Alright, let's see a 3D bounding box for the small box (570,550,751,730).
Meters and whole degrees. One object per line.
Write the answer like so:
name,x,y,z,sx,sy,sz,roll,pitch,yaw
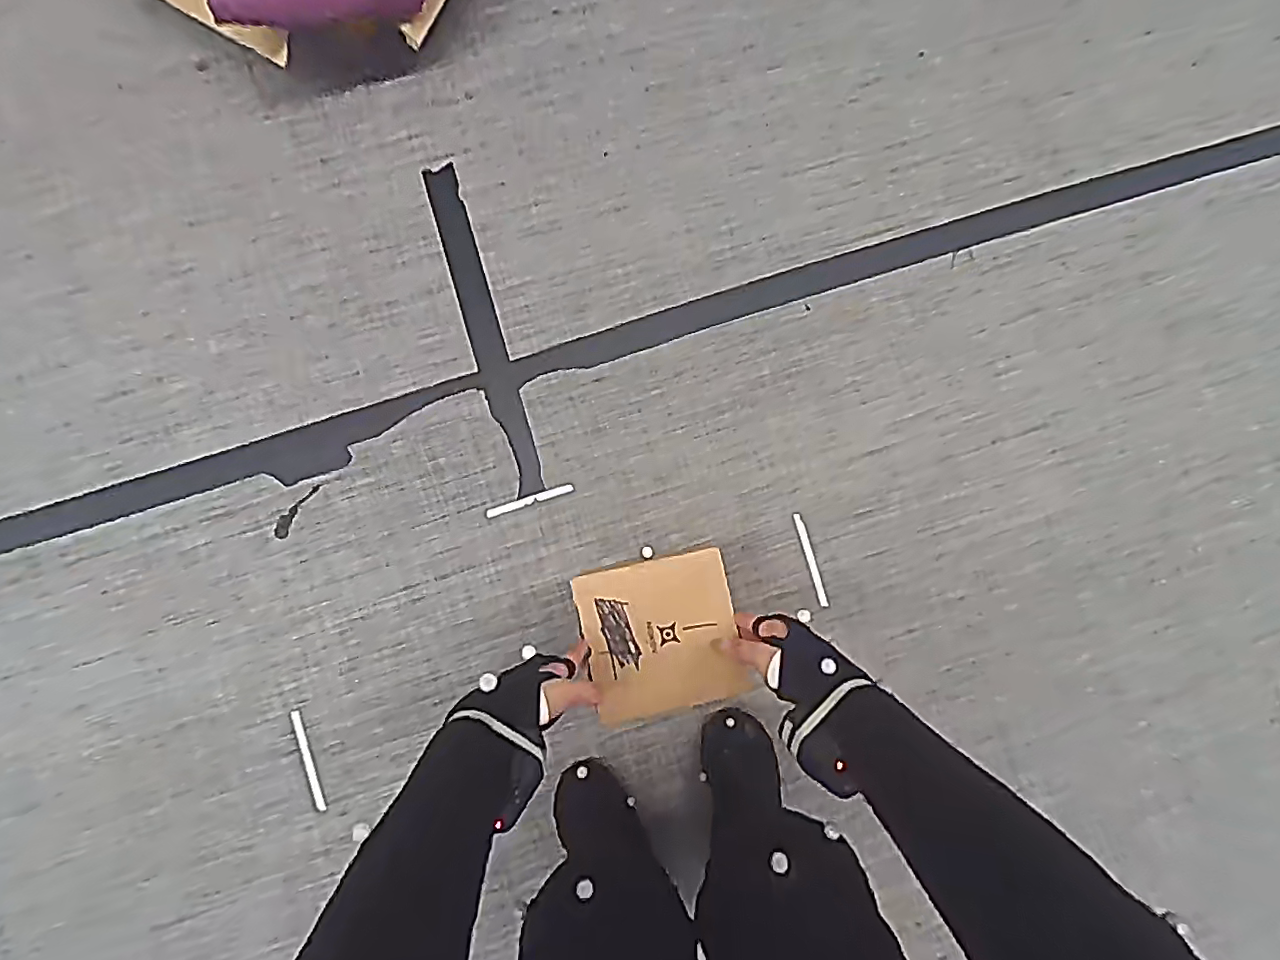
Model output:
small box,0.020,0.185,0.673,0.179,0.176,0.168,-12,84,-4
